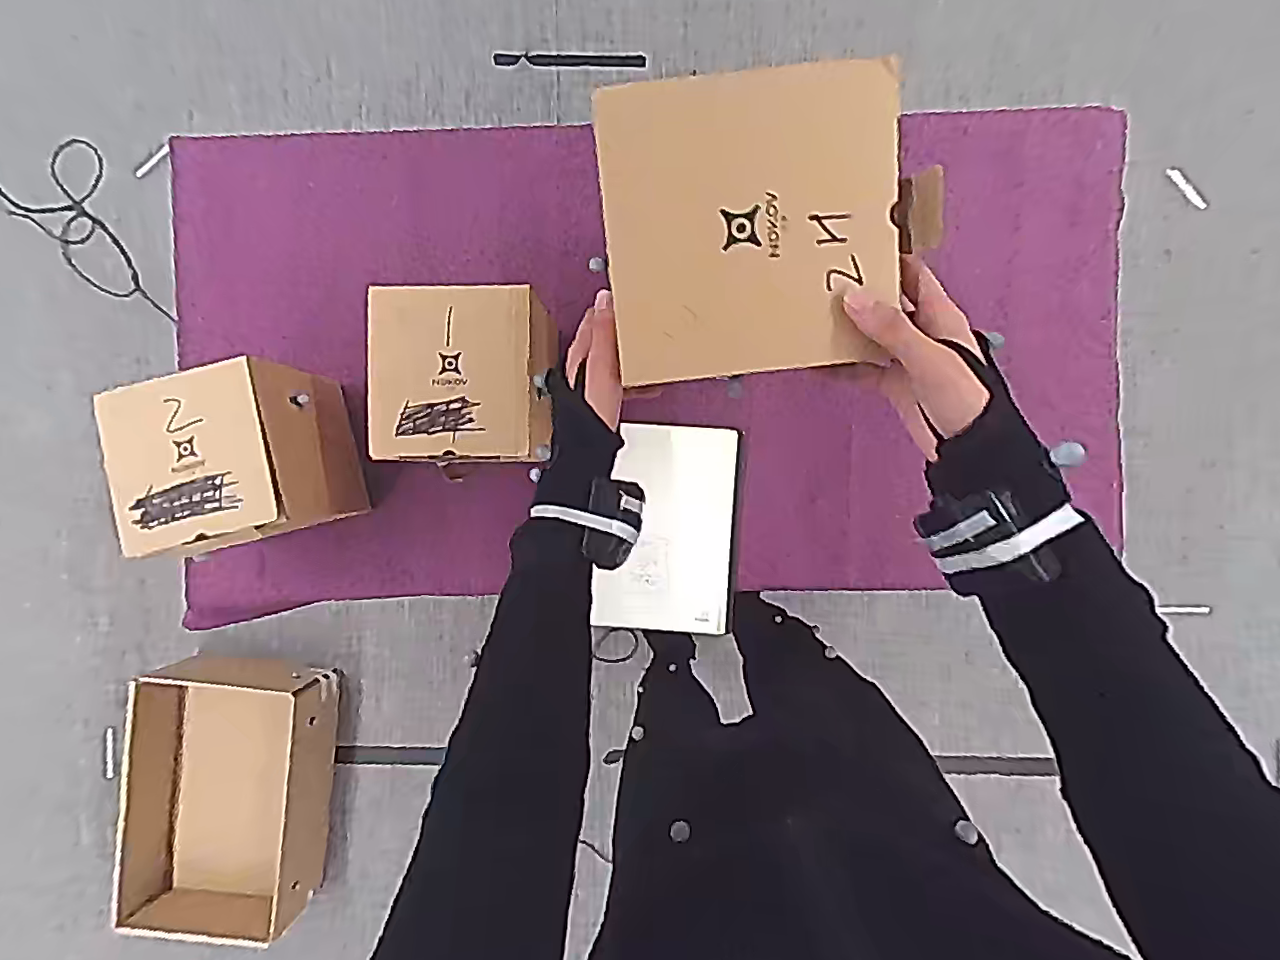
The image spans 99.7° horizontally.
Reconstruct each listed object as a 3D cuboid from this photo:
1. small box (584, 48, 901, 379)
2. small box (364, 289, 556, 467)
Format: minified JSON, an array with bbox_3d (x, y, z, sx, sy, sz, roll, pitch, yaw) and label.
[{"bbox_3d":[0.061,-0.163,0.388,0.179,0.176,0.168,-6,101,-1],"label":"small box"},{"bbox_3d":[-0.190,-0.103,0.616,0.168,0.176,0.179,0,90,1],"label":"small box"}]
